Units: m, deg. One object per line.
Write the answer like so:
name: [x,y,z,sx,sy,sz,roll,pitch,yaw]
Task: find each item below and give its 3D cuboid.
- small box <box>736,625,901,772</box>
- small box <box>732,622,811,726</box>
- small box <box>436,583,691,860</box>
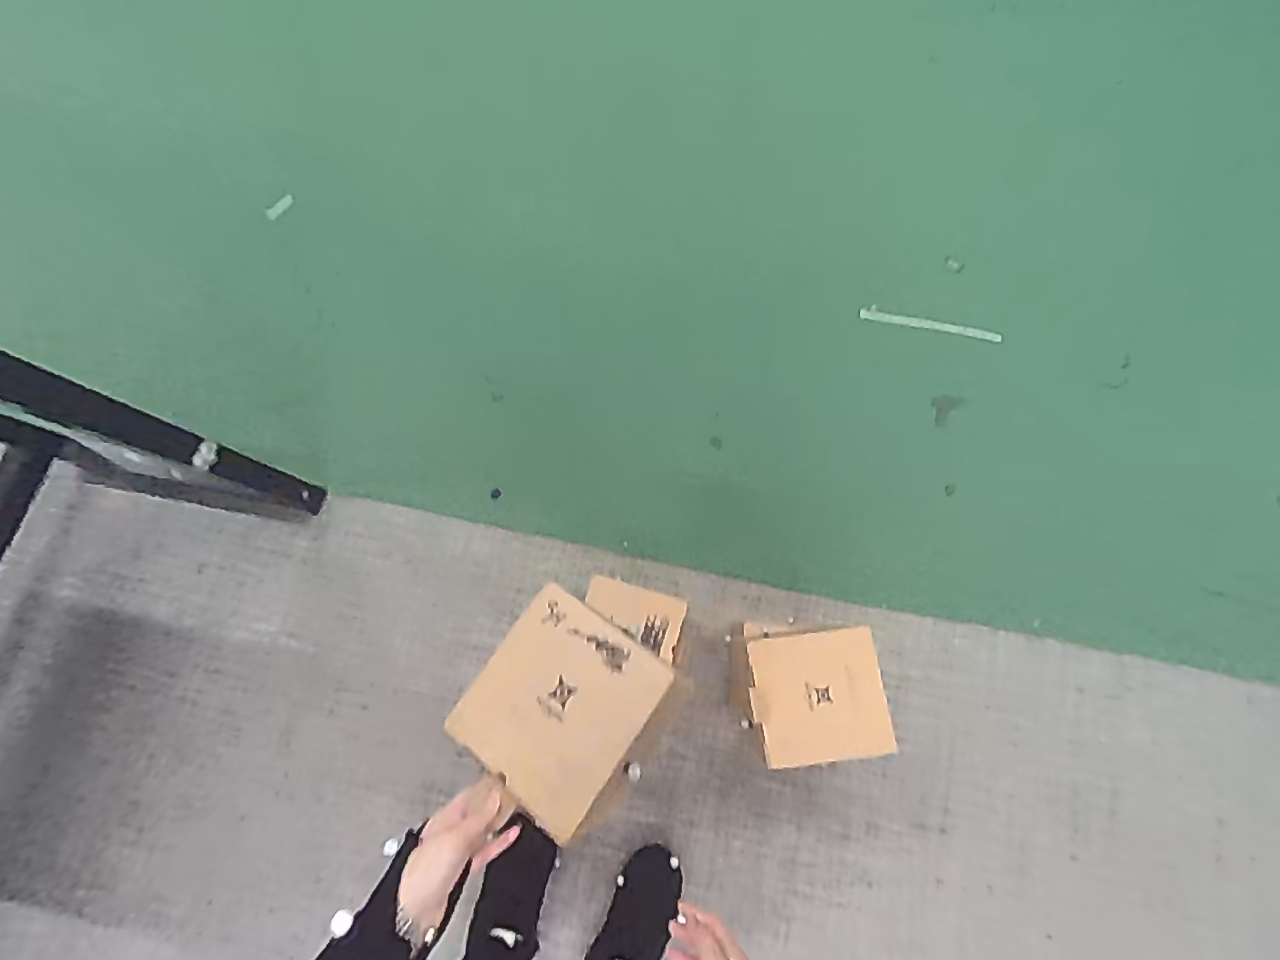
small box: [0.244,0.308,0.794,0.179,0.176,0.168,-8,76,-1]
small box: [0.259,0.343,0.952,0.179,0.176,0.168,4,75,2]
small box: [-0.063,0.240,0.563,0.168,0.176,0.179,32,77,24]
